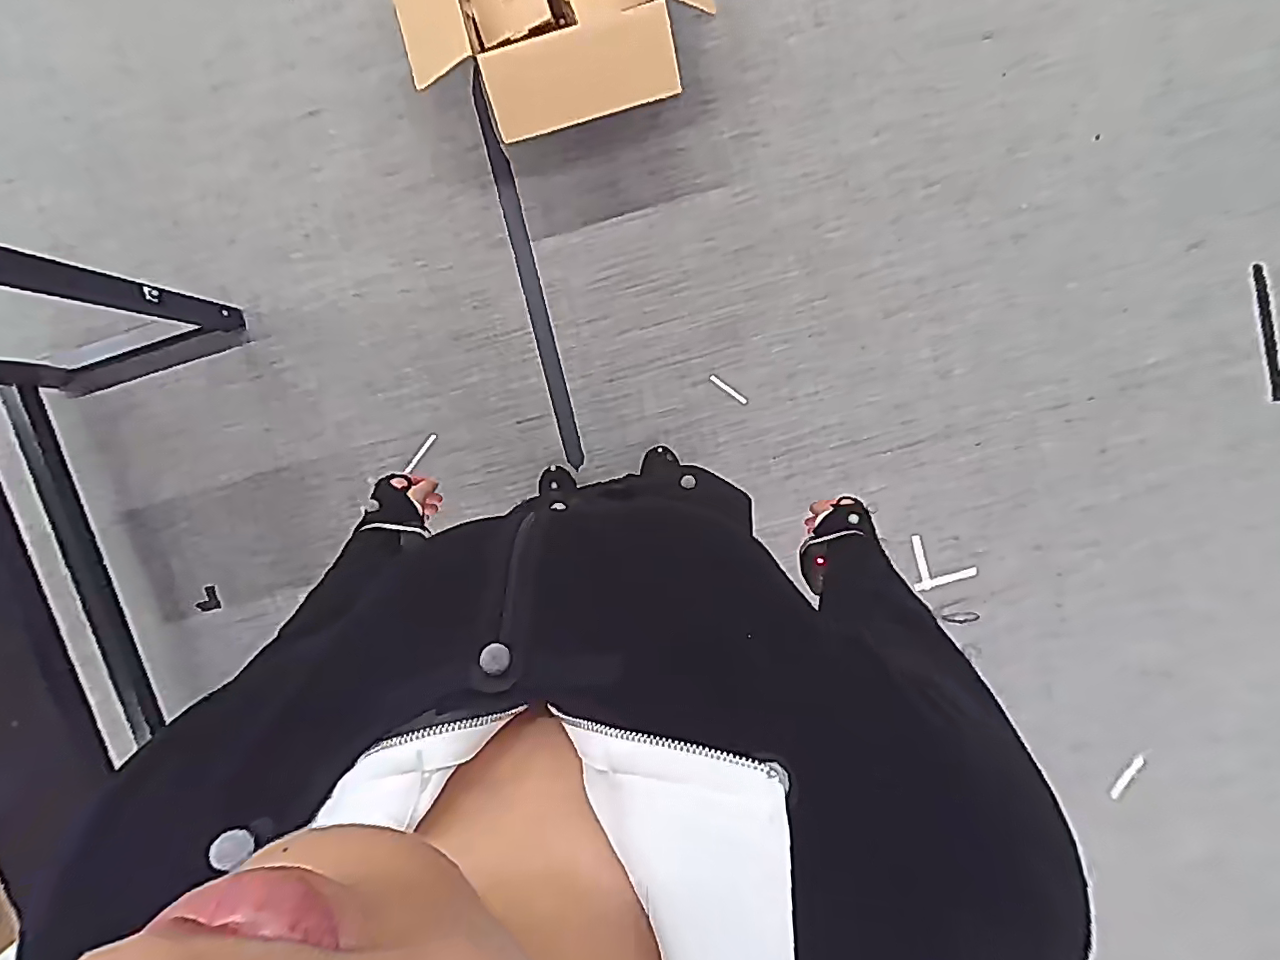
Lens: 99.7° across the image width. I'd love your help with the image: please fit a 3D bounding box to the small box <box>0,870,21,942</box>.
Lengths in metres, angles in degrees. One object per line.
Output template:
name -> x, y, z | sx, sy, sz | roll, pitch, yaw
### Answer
small box -> -1.073, 0.661, 0.767 | 0.179, 0.176, 0.168 | -17, 96, 2
